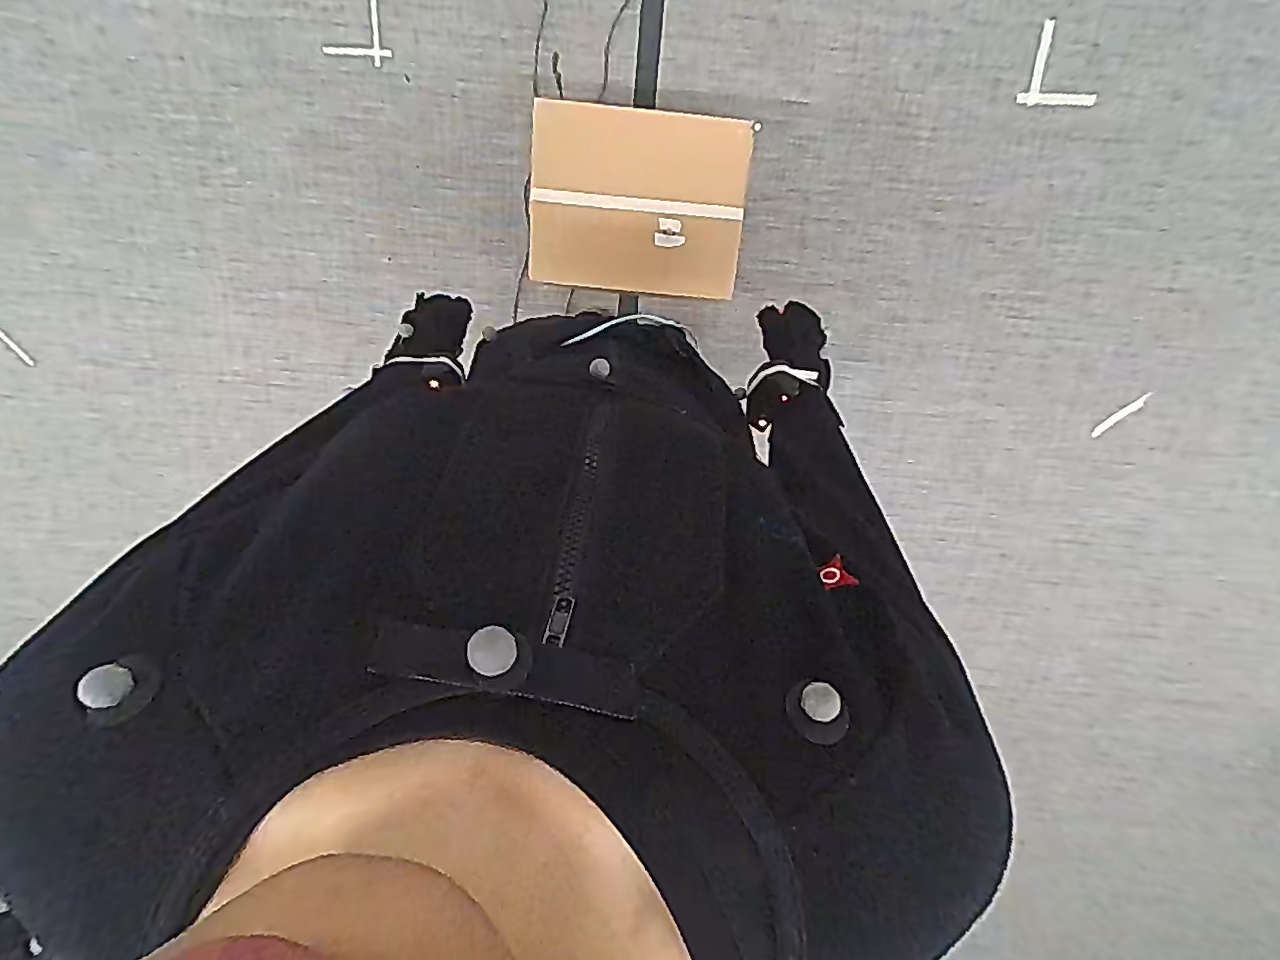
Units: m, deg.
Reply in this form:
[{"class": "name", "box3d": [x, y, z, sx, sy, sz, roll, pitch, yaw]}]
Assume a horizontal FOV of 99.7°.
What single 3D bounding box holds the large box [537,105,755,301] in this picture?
[{"class": "large box", "box3d": [0.001, -0.567, 1.175, 0.408, 0.320, 0.320, 5, 108, -2]}]
